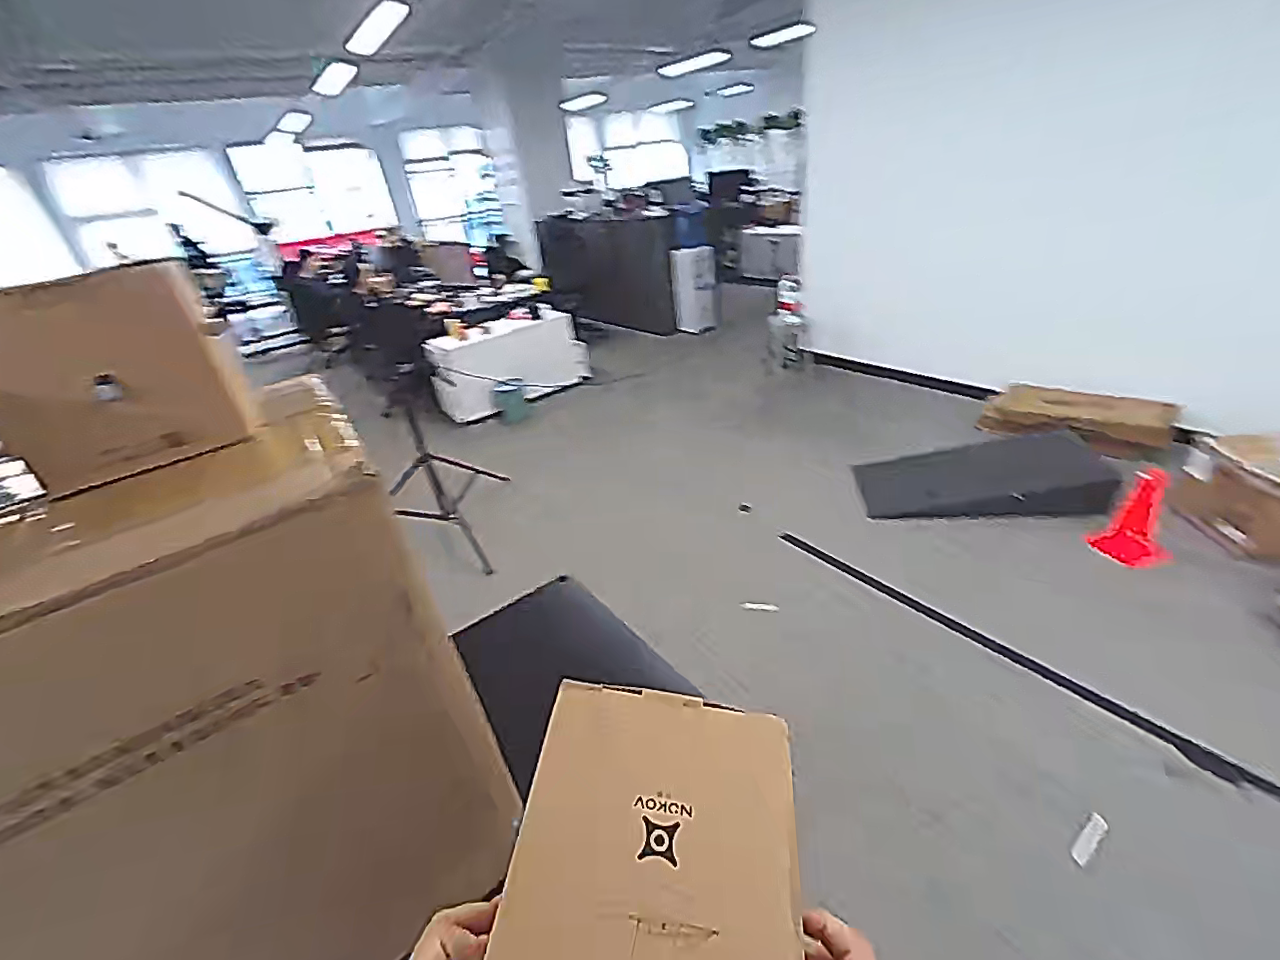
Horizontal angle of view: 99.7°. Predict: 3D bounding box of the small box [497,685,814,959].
[{"bbox_3d":[0.011,0.276,0.372,0.168,0.176,0.179,9,40,4],"label":"small box"}]
